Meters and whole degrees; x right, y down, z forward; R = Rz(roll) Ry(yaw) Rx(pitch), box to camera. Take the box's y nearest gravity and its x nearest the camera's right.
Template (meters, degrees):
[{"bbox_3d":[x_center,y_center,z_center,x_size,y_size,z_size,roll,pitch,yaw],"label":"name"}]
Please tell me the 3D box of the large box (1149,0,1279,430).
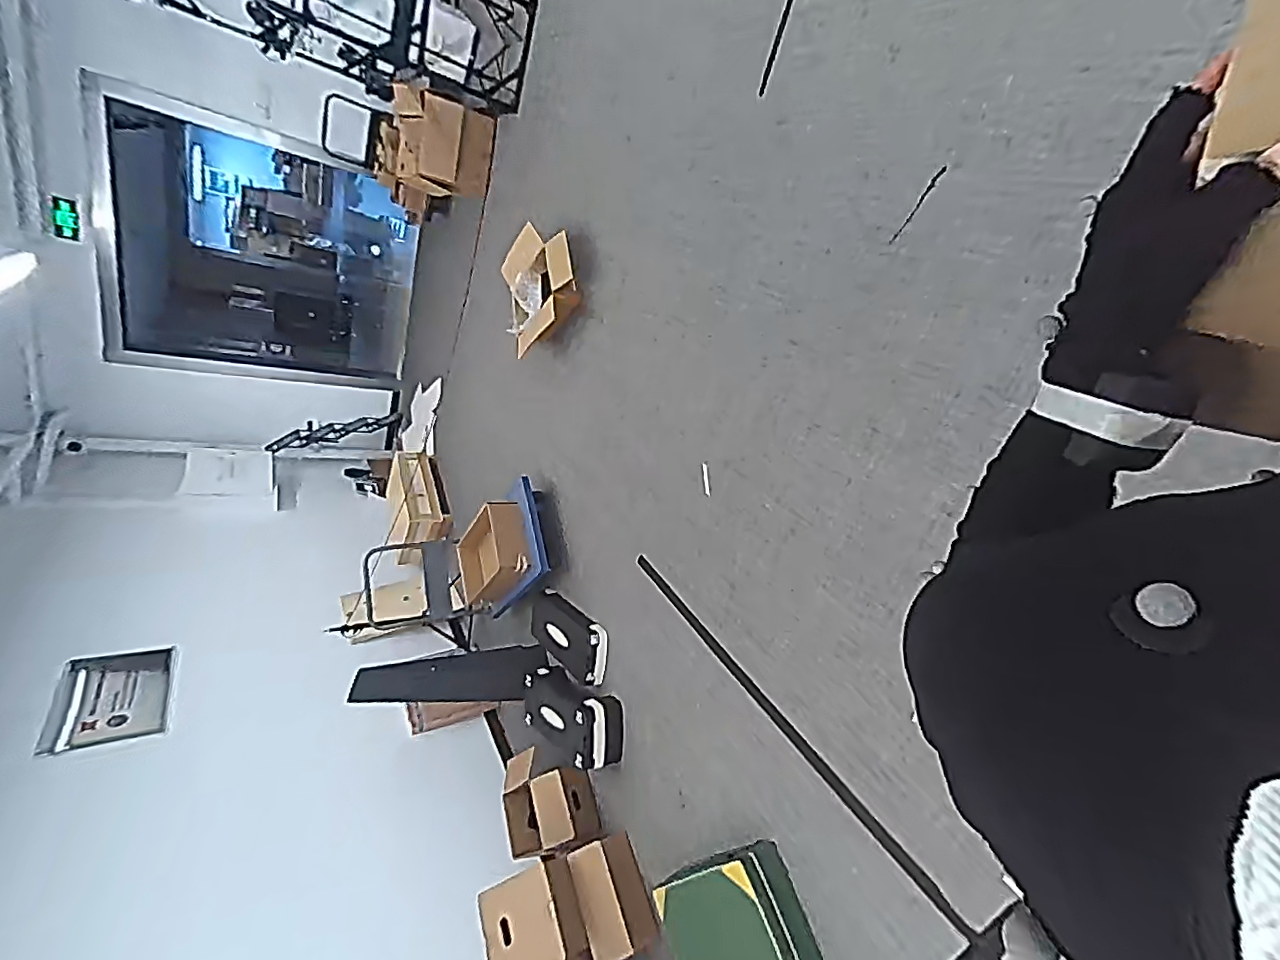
[{"bbox_3d":[0.547,-0.189,0.211,0.408,0.320,0.320,30,150,49],"label":"large box"}]
